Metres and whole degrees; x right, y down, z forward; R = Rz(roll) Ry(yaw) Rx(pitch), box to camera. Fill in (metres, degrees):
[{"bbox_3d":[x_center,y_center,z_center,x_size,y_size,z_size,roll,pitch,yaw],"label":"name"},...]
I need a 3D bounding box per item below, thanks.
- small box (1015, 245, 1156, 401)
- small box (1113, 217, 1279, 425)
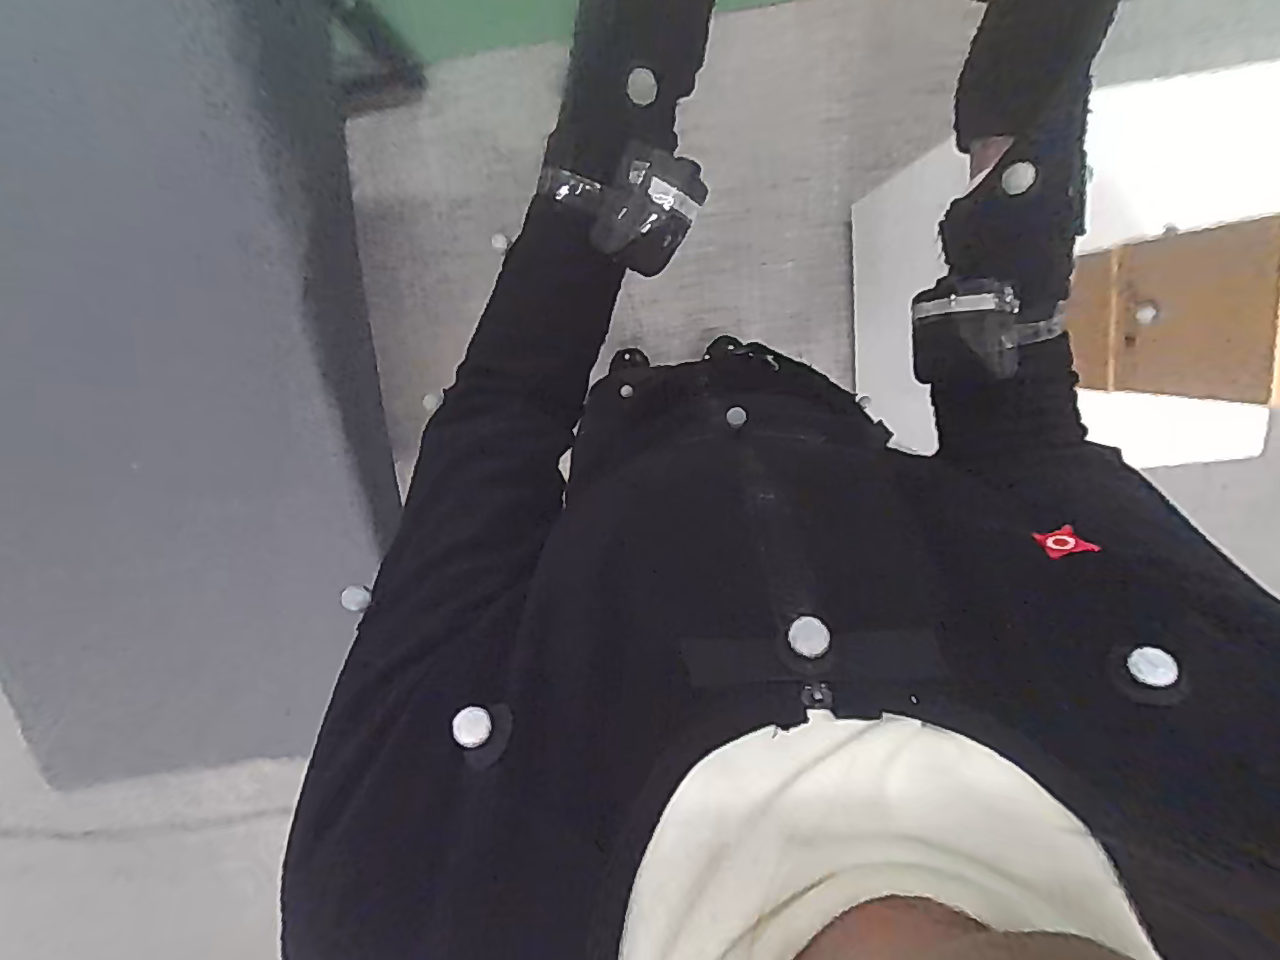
[{"bbox_3d":[0.608,-0.199,0.671,0.179,0.176,0.168,-8,103,6],"label":"small box"},{"bbox_3d":[0.607,-0.160,0.511,0.179,0.176,0.168,-12,104,4],"label":"small box"}]
